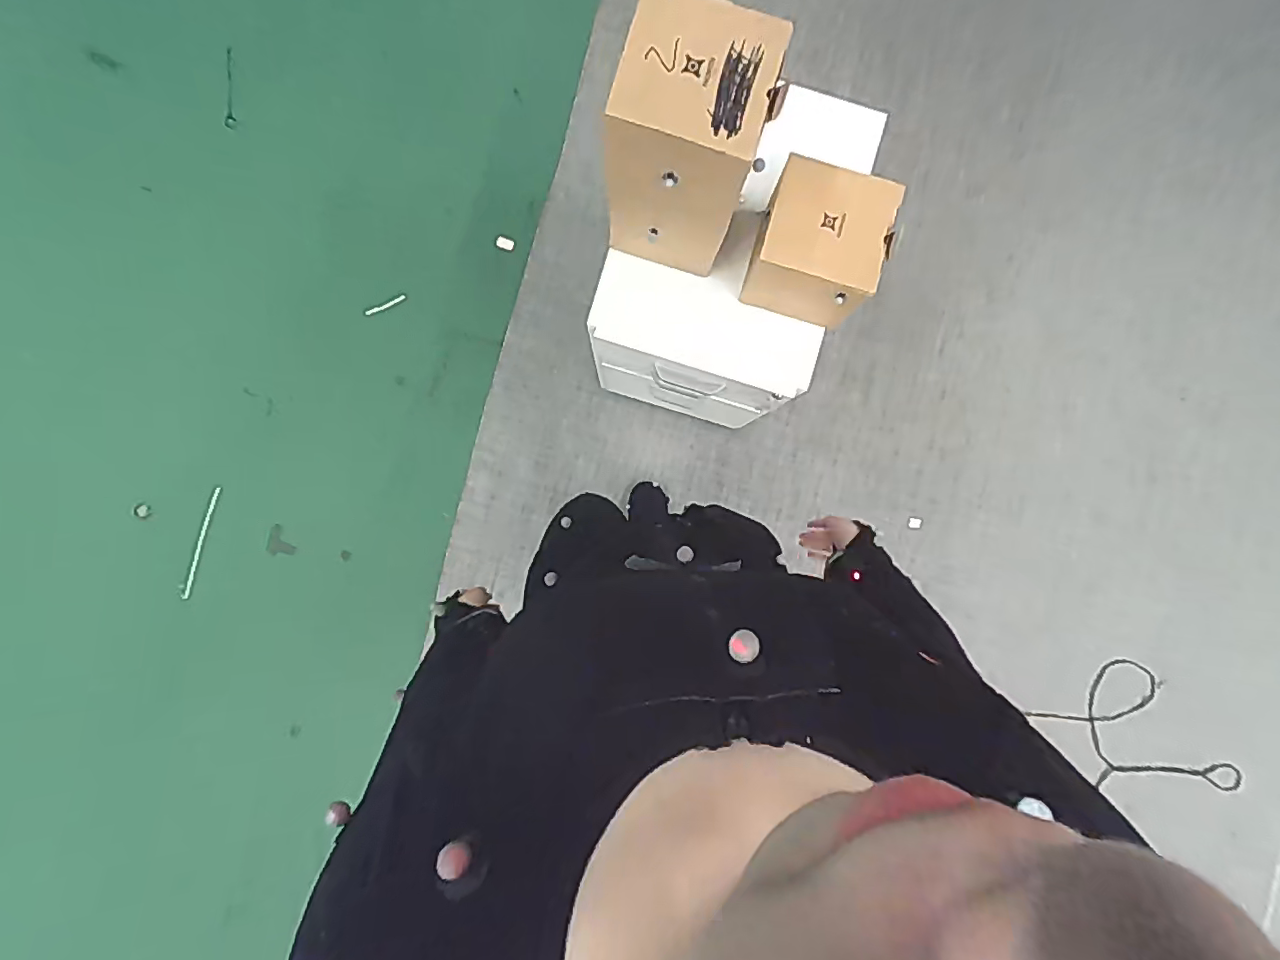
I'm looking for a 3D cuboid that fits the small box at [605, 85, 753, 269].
[{"bbox_3d":[0.053,-0.454,0.838,0.179,0.176,0.168,16,89,-2],"label":"small box"}]
